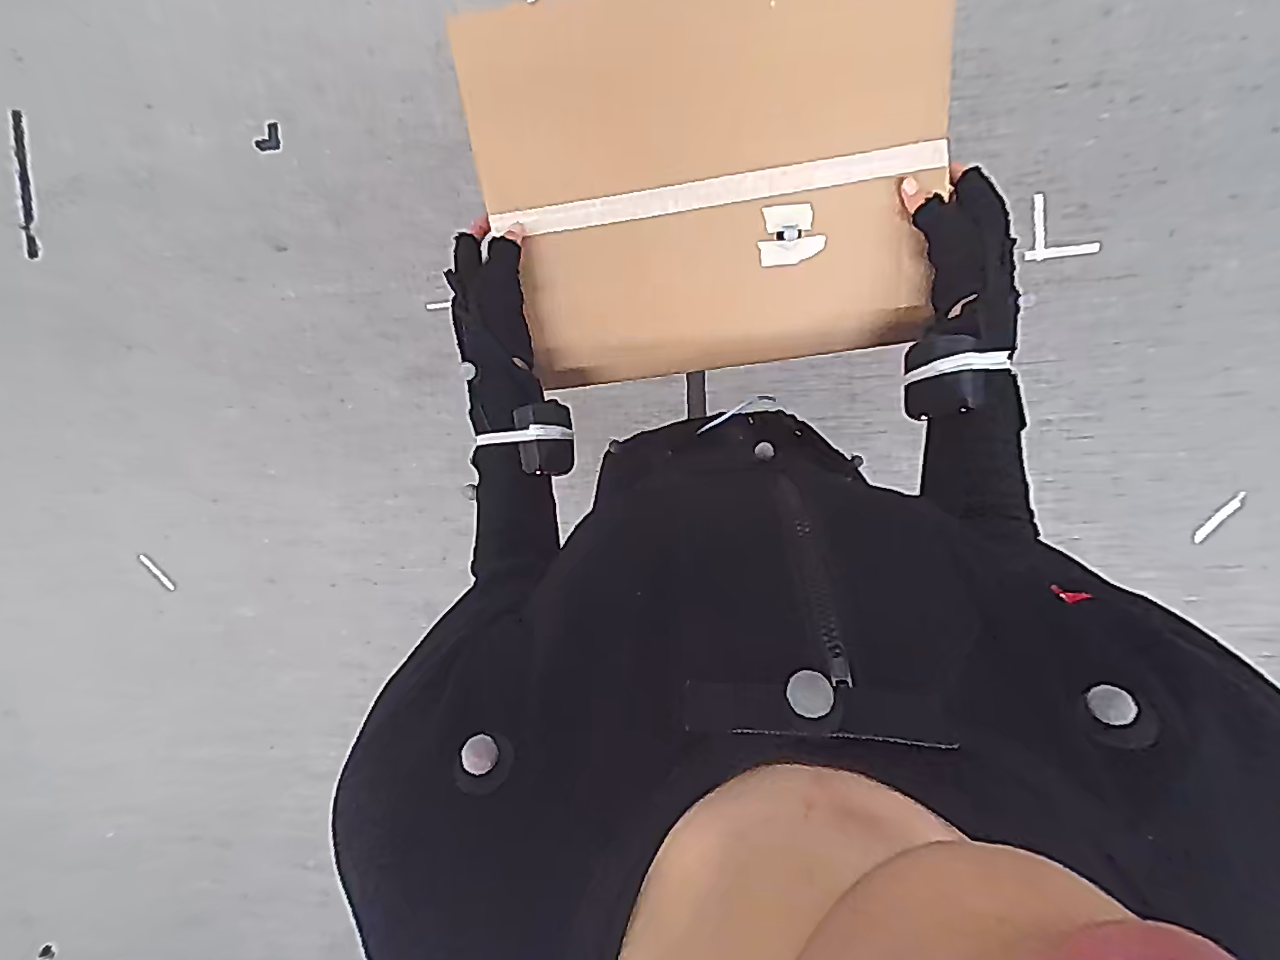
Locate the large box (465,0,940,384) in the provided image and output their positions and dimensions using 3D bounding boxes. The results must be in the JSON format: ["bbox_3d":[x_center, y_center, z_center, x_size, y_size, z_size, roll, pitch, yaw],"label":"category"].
[{"bbox_3d":[0.068,-0.319,0.636,0.408,0.320,0.320,-6,112,4],"label":"large box"}]
